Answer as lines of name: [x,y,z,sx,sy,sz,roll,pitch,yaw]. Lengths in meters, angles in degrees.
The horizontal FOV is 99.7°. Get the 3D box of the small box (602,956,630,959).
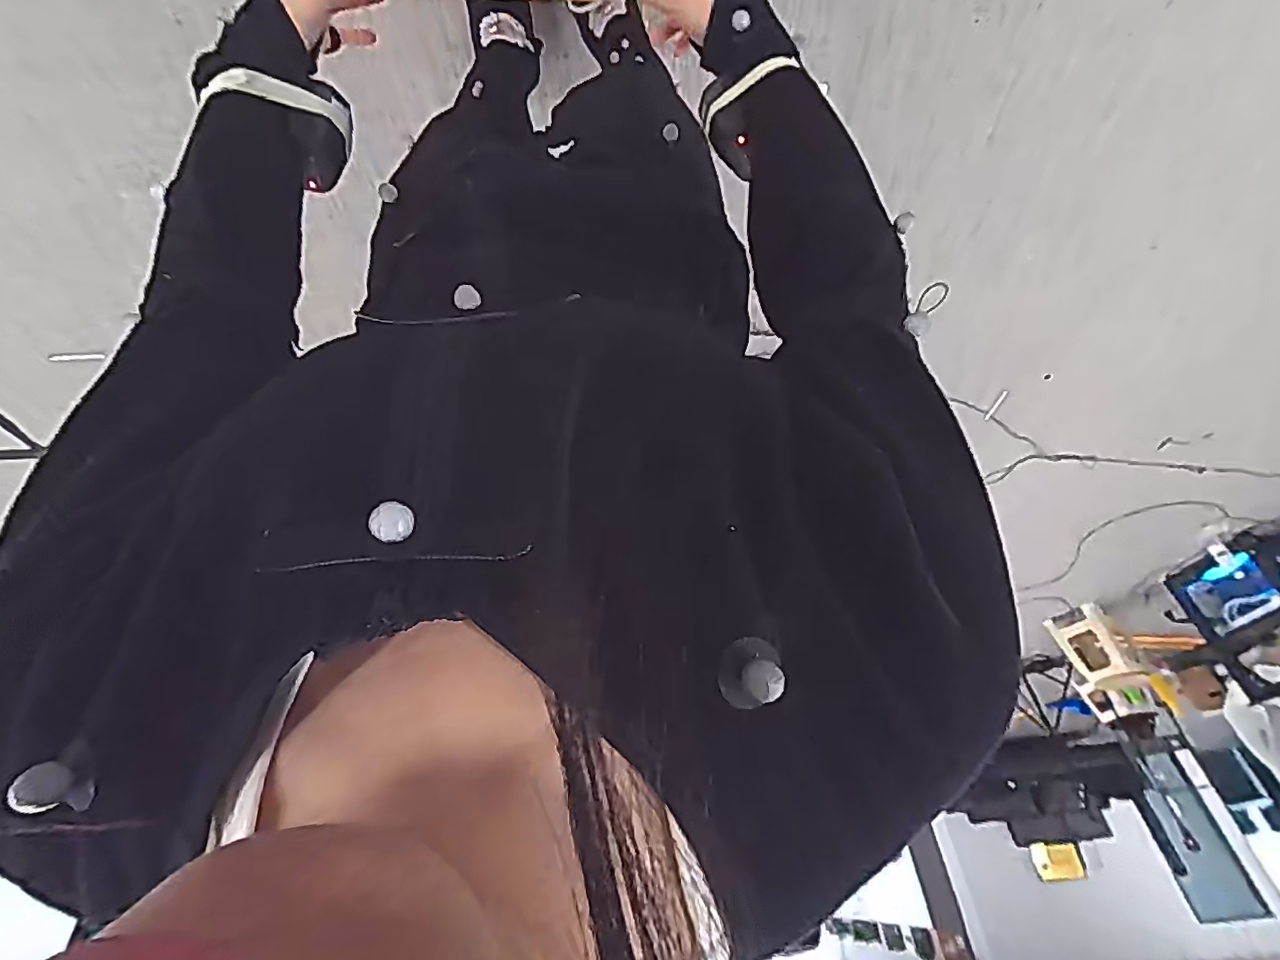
small box: [-0.106,1.508,1.564,0.168,0.176,0.179,-3,145,-2]
